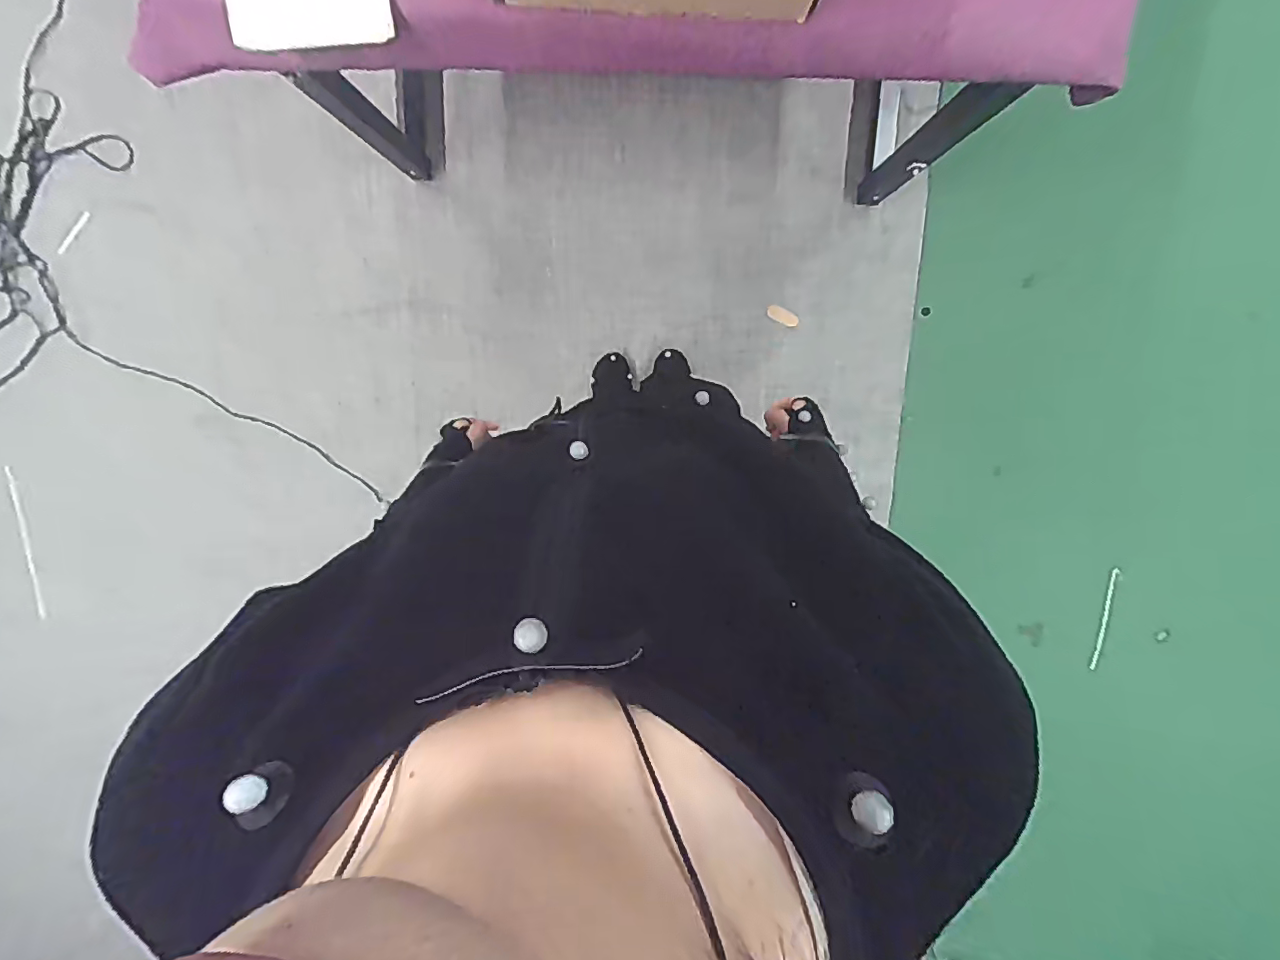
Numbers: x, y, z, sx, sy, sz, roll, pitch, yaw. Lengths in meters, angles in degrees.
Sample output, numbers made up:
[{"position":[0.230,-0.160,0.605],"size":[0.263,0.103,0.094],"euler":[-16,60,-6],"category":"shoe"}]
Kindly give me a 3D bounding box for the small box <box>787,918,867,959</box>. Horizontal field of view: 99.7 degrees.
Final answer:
[{"position":[0.481,1.240,1.346],"size":[0.179,0.176,0.168],"euler":[-9,99,3],"category":"small box"}]
